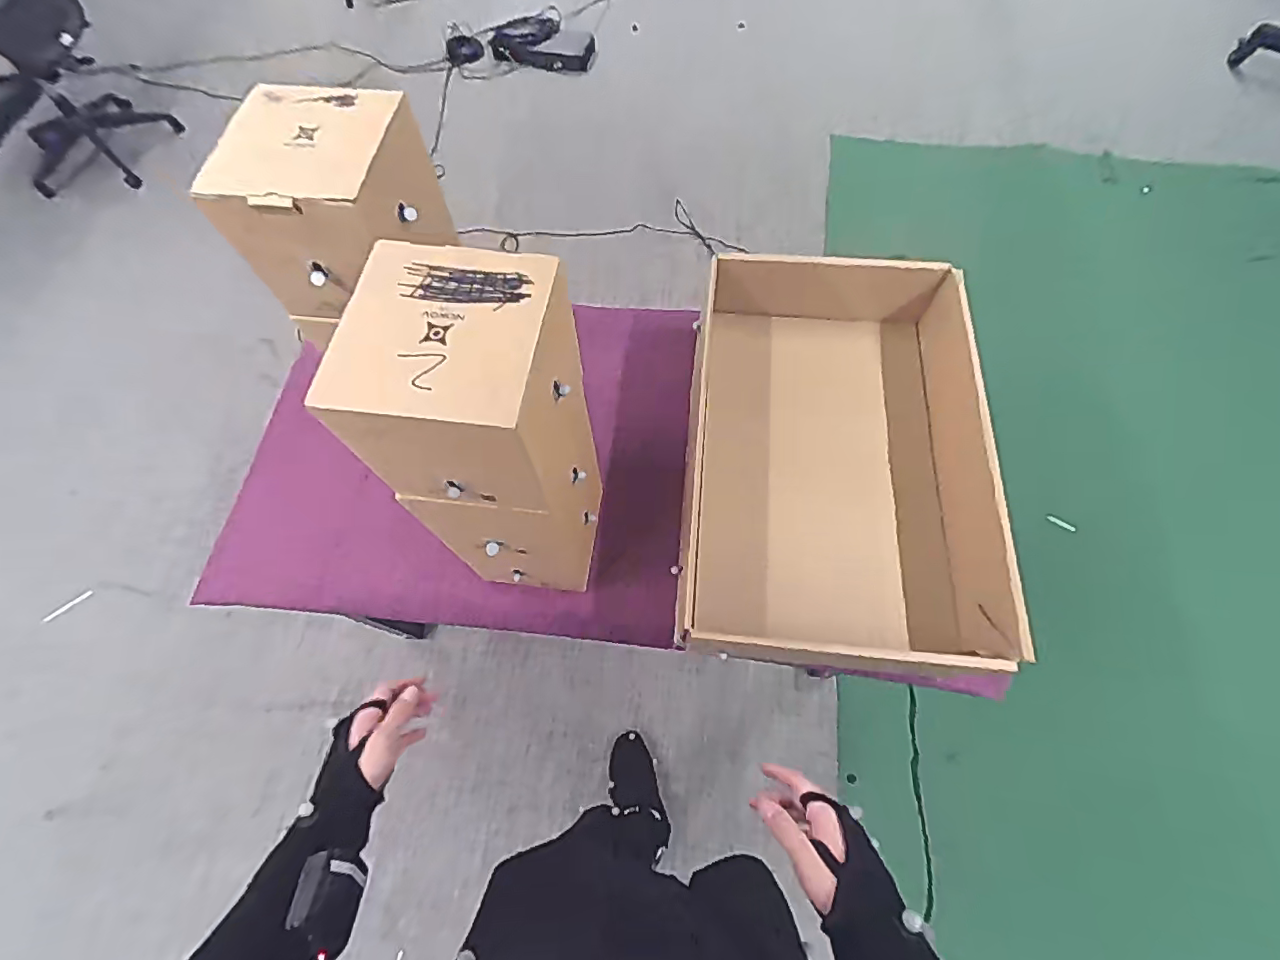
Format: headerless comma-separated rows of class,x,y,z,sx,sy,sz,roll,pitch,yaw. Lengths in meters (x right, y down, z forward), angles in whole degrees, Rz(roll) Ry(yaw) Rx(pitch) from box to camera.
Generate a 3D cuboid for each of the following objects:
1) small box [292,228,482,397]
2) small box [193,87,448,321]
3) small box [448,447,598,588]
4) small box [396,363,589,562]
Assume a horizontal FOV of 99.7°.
small box,-0.337,-0.231,0.764,0.168,0.176,0.179,5,65,3
small box,-0.338,-0.304,0.616,0.168,0.176,0.179,5,66,2
small box,-0.159,0.053,0.805,0.168,0.176,0.179,7,65,3
small box,-0.160,-0.015,0.656,0.168,0.176,0.179,6,66,4
